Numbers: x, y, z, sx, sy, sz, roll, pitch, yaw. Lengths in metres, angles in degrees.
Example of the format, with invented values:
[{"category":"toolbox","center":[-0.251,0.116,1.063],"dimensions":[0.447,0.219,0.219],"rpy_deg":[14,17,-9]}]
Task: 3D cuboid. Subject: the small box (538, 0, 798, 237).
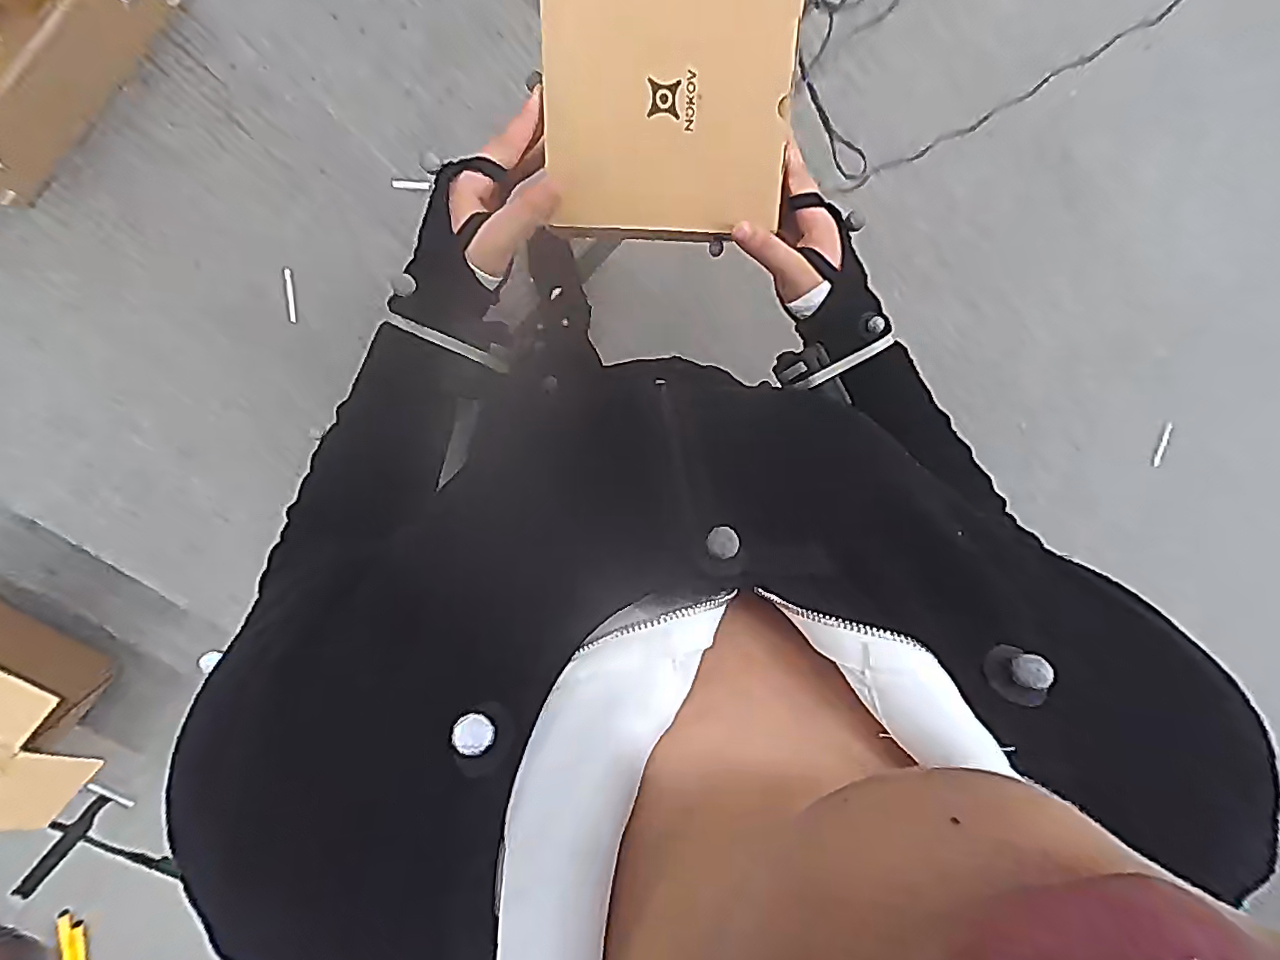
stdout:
[{"category":"small box","center":[0.009,-0.299,0.449],"dimensions":[0.179,0.176,0.168],"rpy_deg":[-1,112,-8]}]
